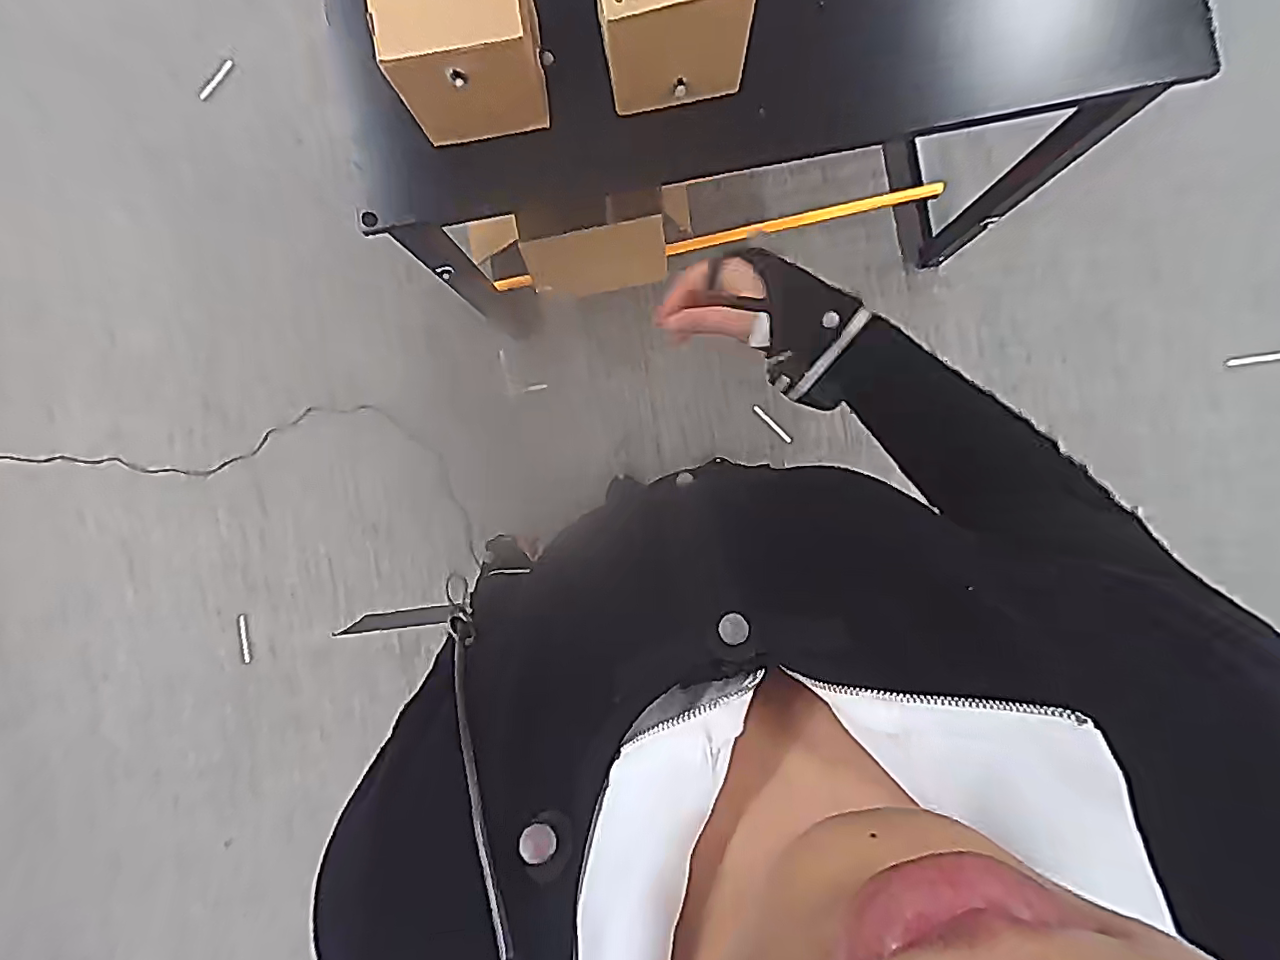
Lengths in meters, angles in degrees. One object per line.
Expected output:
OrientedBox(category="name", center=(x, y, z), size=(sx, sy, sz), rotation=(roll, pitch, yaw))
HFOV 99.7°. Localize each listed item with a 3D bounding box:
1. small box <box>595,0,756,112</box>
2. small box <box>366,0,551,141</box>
OrientedBox(category="small box", center=(0.035, -0.609, 0.680), size=(0.179, 0.176, 0.168), rotation=(-11, 90, 2))
OrientedBox(category="small box", center=(-0.226, -0.570, 0.692), size=(0.179, 0.176, 0.168), rotation=(-9, 91, 2))
